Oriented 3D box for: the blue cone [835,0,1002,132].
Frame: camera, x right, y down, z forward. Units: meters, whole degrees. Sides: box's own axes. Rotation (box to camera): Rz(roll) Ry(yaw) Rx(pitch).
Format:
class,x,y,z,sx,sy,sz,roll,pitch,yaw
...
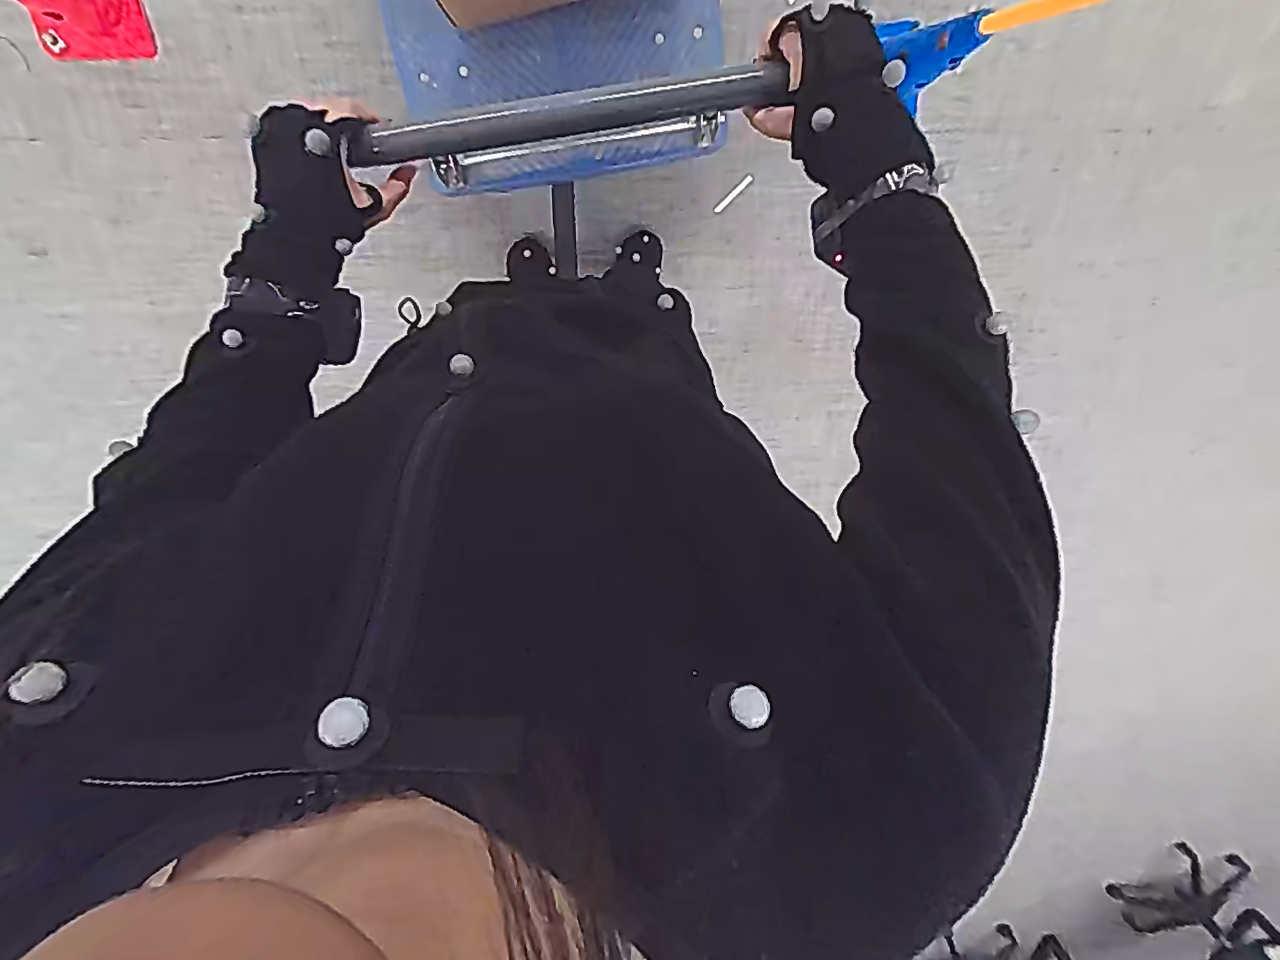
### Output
class,x,y,z,sx,sy,sz,roll,pitch,yaw
blue cone,0.529,-0.799,1.012,0.193,0.380,0.192,-6,114,-4
